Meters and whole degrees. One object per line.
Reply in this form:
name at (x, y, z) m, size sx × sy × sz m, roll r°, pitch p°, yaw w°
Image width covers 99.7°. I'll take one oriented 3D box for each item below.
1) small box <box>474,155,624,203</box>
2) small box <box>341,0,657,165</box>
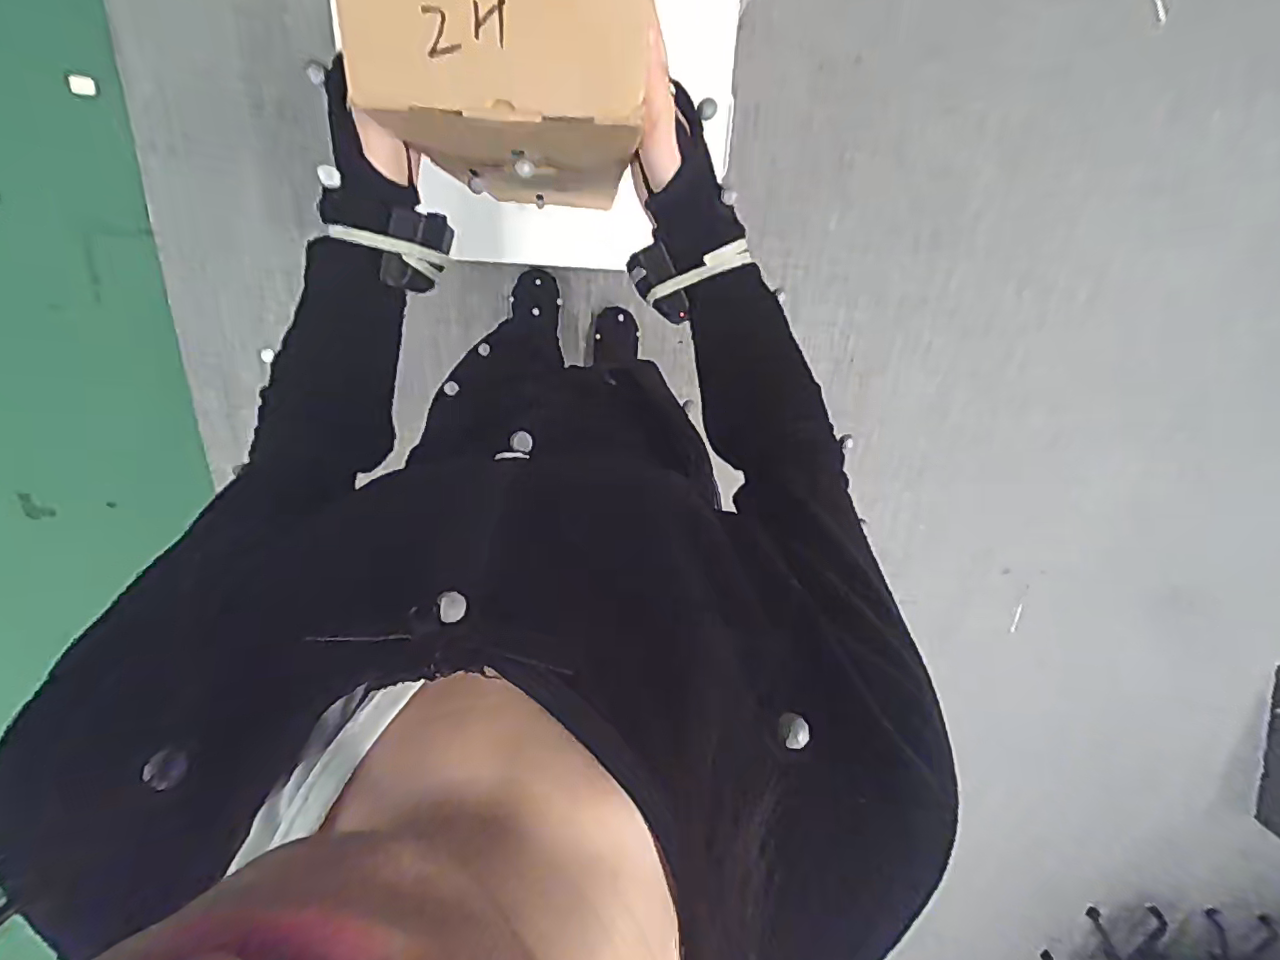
small box at (-0.104, -0.443, 0.646) m, size 0.168 × 0.176 × 0.179 m, roll 1°, pitch 112°, yaw -7°
small box at (-0.078, -0.319, 0.343) m, size 0.168 × 0.176 × 0.179 m, roll 0°, pitch 112°, yaw -6°
